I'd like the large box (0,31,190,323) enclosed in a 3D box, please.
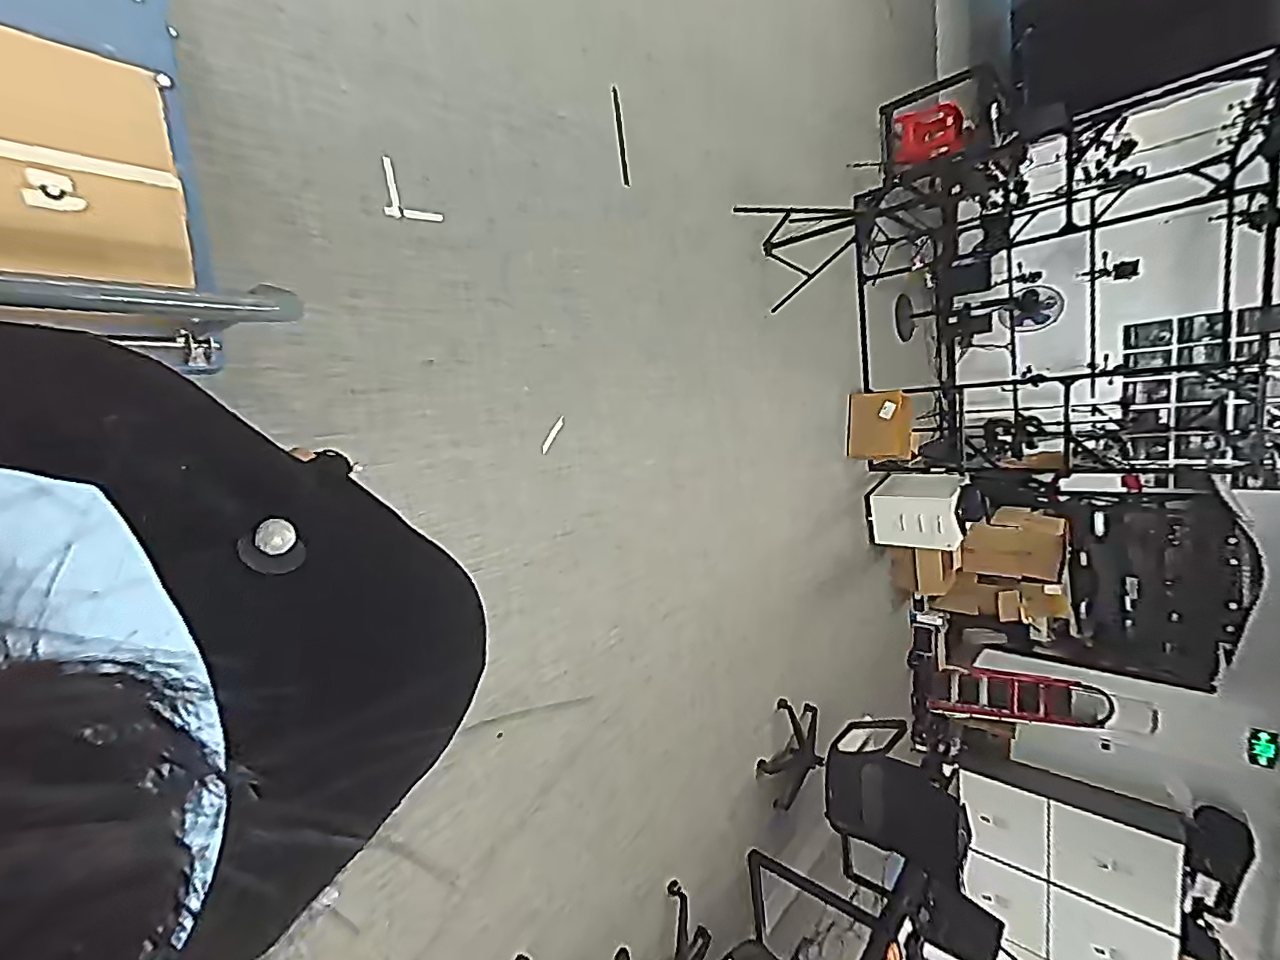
[{"bbox_3d":[-0.951,-0.417,0.769,0.408,0.320,0.320,-12,101,-48],"label":"large box"}]
